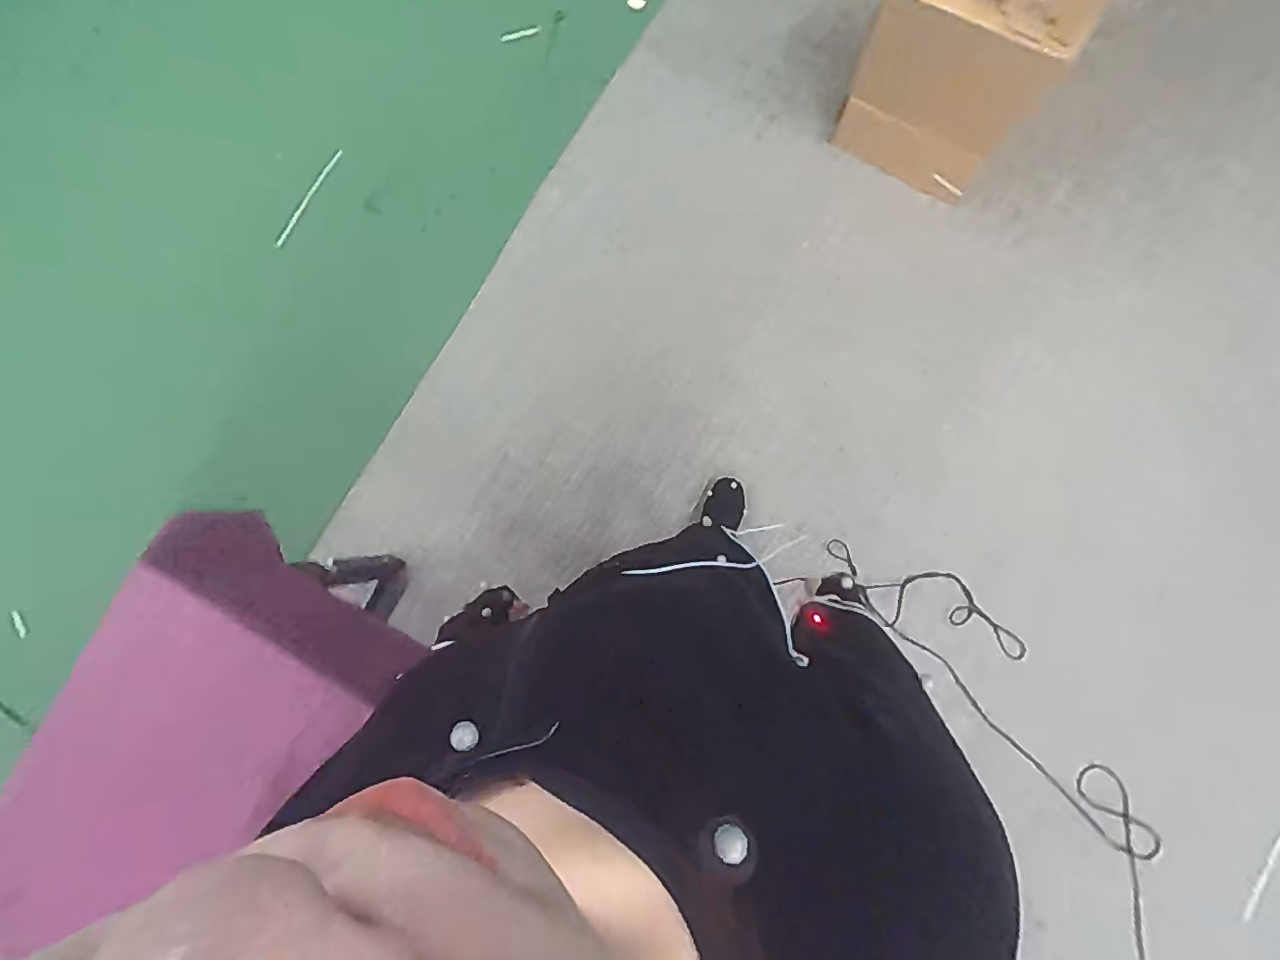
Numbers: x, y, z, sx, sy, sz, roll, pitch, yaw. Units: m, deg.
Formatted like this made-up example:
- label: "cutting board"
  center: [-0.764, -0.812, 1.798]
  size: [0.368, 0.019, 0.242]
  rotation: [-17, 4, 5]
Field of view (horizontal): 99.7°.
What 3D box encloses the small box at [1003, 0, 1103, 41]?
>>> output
- label: "small box"
  center: [0.831, -0.992, 1.009]
  size: [0.168, 0.176, 0.179]
  rotation: [38, 89, 9]
